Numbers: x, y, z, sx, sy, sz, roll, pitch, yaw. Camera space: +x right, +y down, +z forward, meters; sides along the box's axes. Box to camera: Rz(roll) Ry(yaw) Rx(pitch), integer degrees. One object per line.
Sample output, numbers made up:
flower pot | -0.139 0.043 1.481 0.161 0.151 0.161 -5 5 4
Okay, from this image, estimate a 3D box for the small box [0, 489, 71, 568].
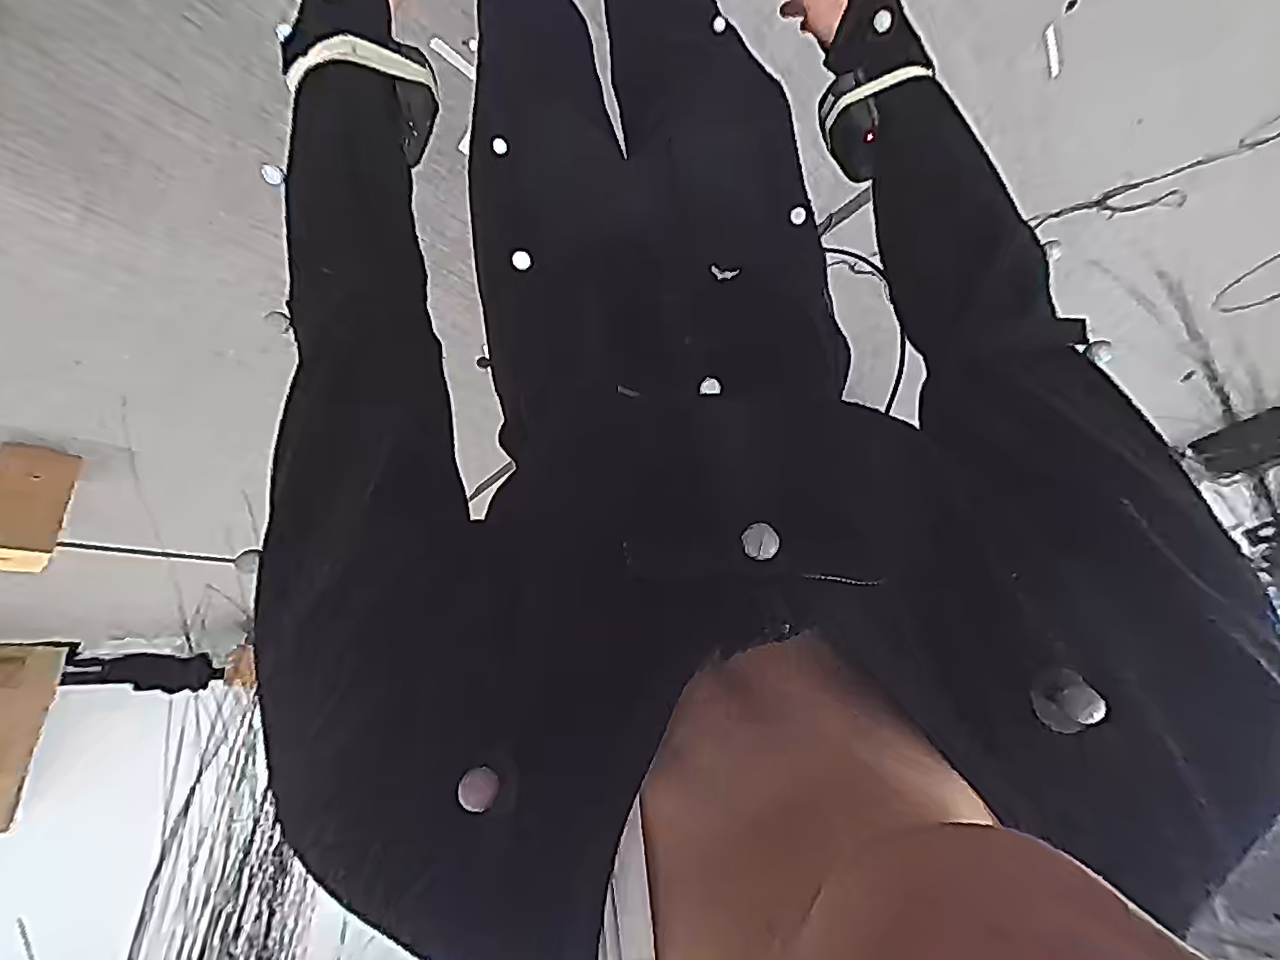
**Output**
small box | -1.833 0.143 1.588 0.168 0.176 0.179 -29 150 29
